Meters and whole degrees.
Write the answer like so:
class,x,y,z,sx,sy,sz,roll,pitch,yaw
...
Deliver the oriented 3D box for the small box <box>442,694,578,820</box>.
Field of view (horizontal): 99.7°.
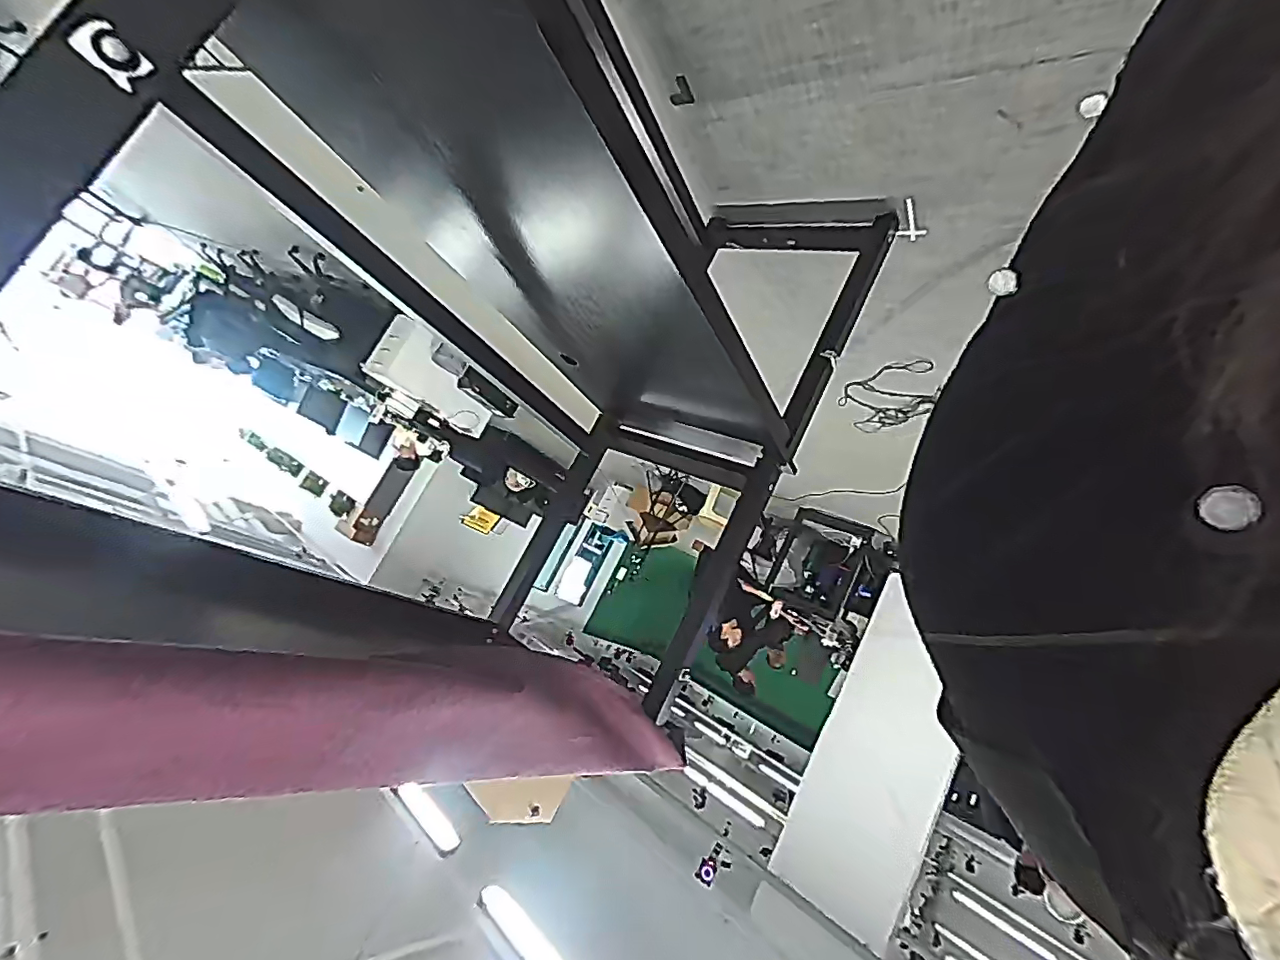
class,x,y,z,sx,sy,sz,roll,pitch,yaw
small box,-0.258,0.551,1.094,0.179,0.176,0.168,19,167,43
